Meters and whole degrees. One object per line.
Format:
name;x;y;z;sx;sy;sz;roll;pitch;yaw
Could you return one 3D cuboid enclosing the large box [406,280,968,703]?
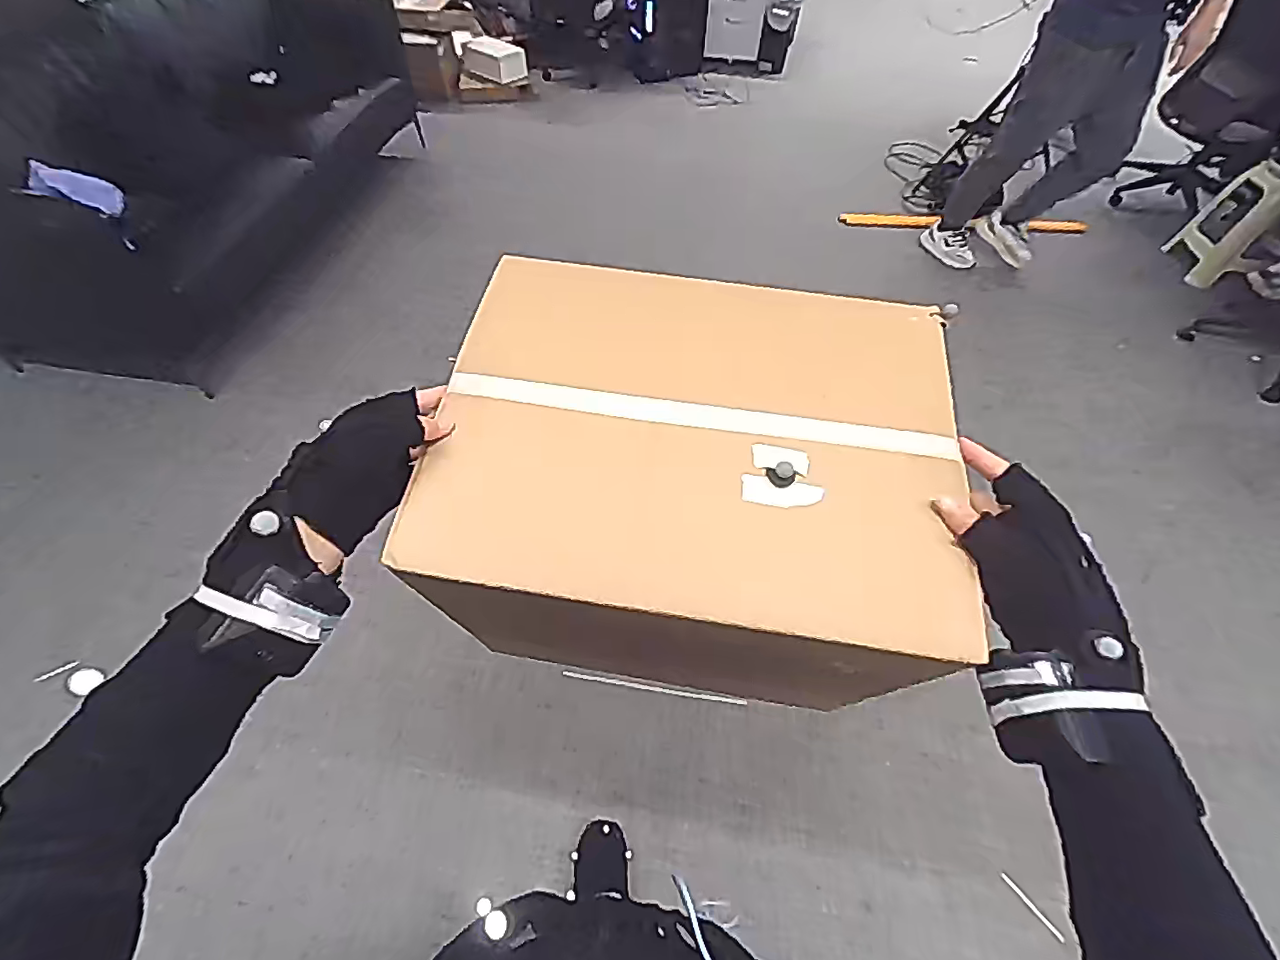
large box;0.045;0.030;0.575;0.408;0.320;0.320;8;62;4
